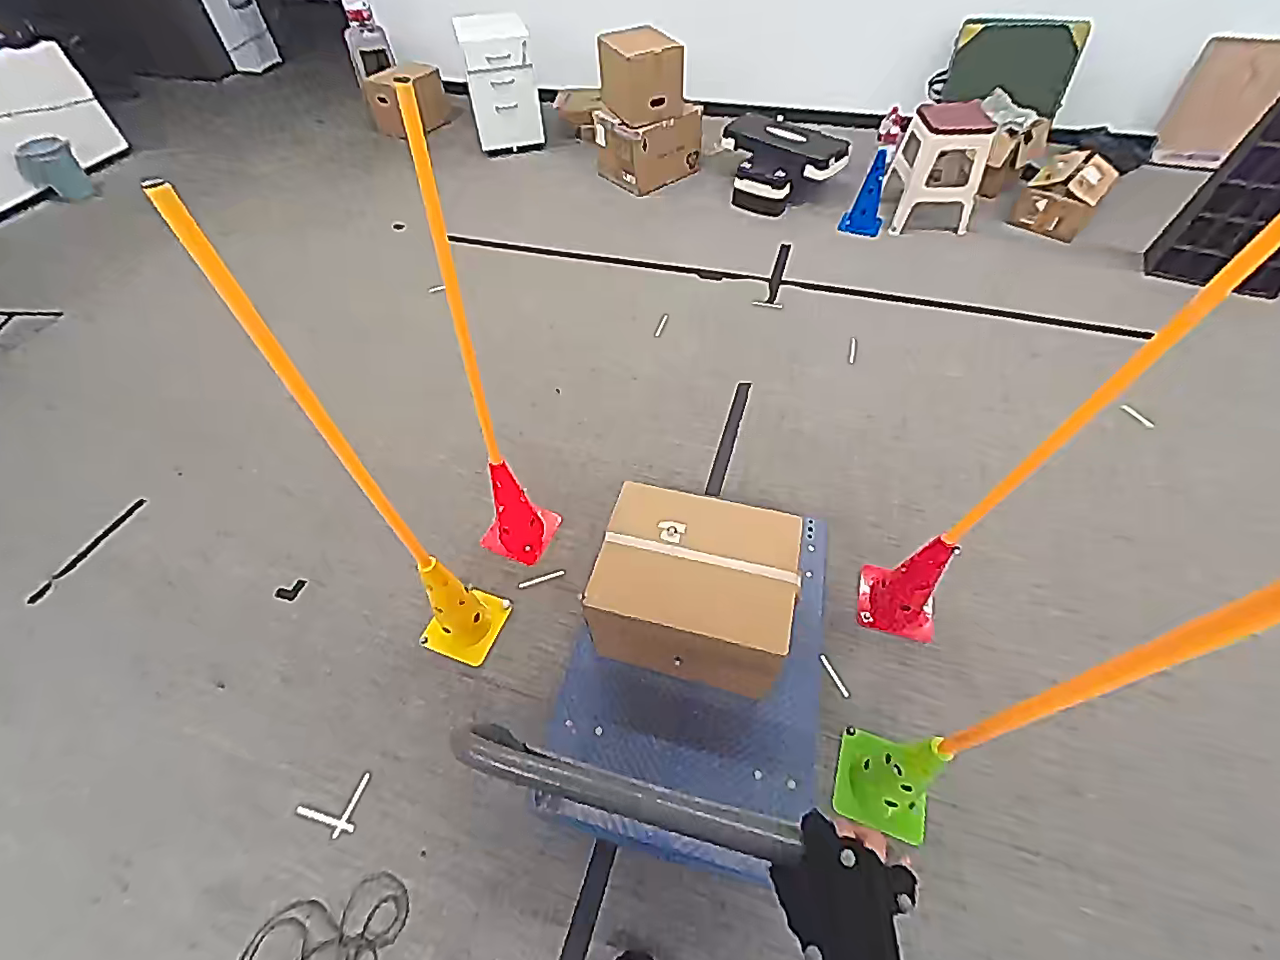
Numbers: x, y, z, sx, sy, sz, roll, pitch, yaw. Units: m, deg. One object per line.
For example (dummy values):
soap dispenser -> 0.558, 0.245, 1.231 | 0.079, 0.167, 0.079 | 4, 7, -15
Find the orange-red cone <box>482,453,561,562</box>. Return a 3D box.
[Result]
orange-red cone -> -0.377, 0.048, 1.591 | 0.198, 0.360, 0.199 | 20, 54, 15

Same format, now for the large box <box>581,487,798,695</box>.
large box -> 0.120, 0.258, 1.235 | 0.408, 0.320, 0.320 | 12, 55, 11

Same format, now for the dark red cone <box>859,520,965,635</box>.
dark red cone -> 0.727, 0.226, 1.400 | 0.201, 0.394, 0.202 | 14, 55, 10

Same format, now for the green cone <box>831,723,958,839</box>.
green cone -> 0.562, 0.601, 1.139 | 0.202, 0.368, 0.200 | 17, 55, 13
